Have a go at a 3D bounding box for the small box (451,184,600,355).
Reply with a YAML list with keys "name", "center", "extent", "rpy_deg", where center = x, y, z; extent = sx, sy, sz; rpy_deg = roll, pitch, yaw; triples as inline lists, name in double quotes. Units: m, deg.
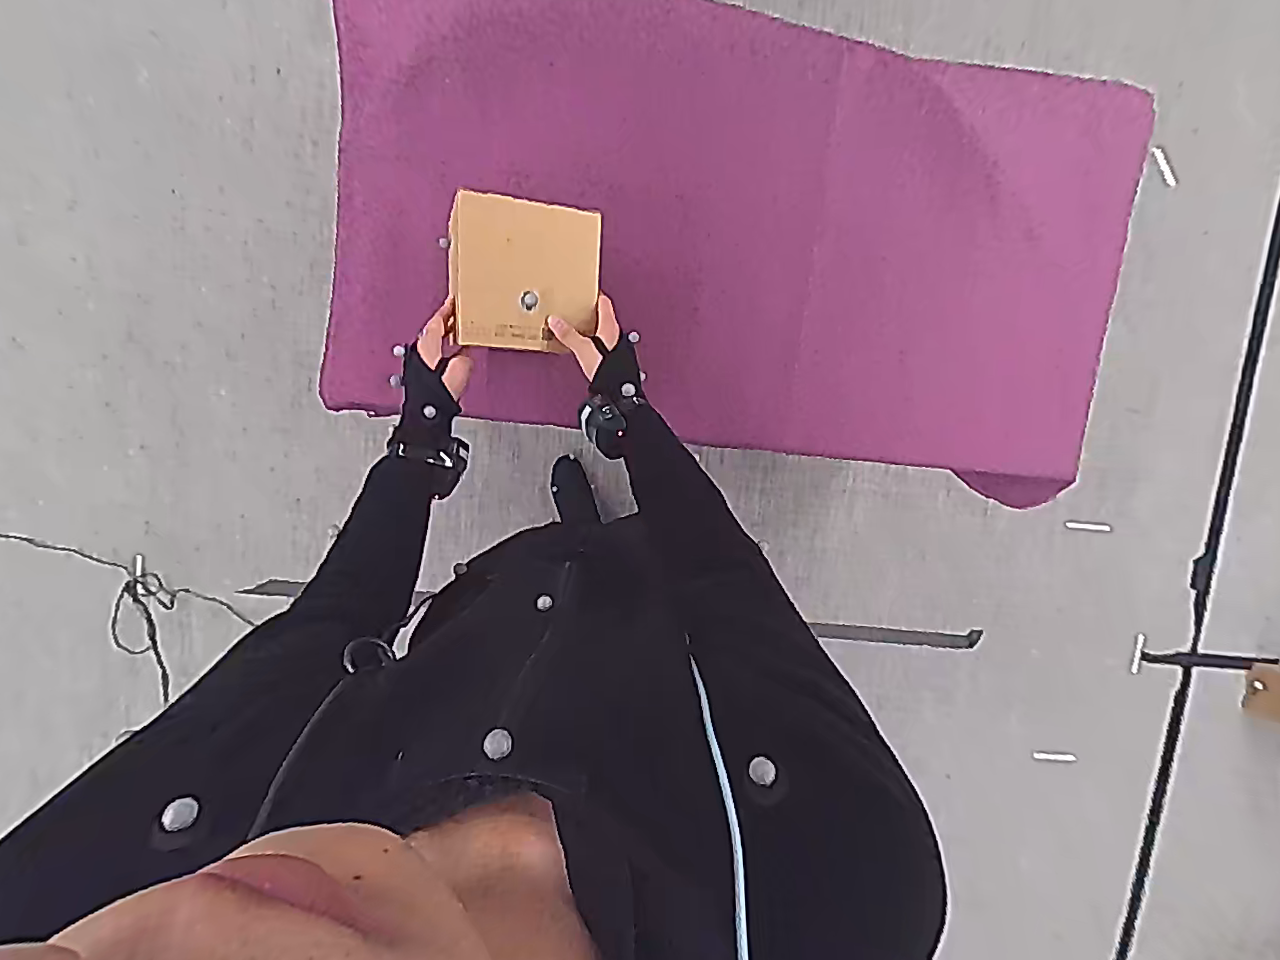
- name: "small box"
  center: [-0.157, -0.257, 0.703]
  extent: [0.168, 0.179, 0.176]
  rpy_deg: [-1, 103, -21]
